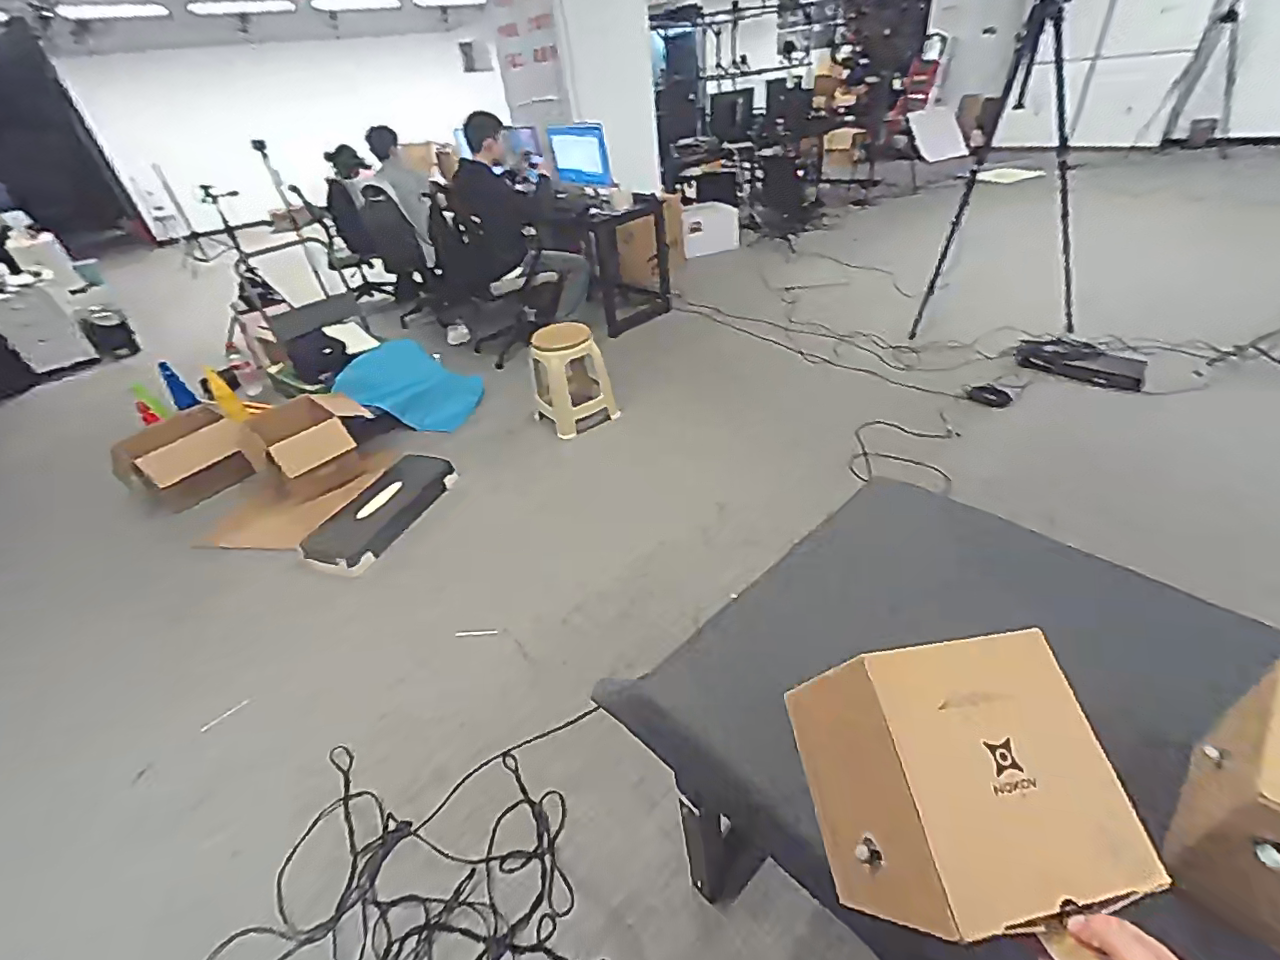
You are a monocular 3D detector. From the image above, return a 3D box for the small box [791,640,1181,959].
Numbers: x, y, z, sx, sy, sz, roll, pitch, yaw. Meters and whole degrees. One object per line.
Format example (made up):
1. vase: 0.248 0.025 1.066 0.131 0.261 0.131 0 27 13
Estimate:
1. small box: 0.248 0.249 0.443 0.168 0.176 0.179 -4 59 -12
